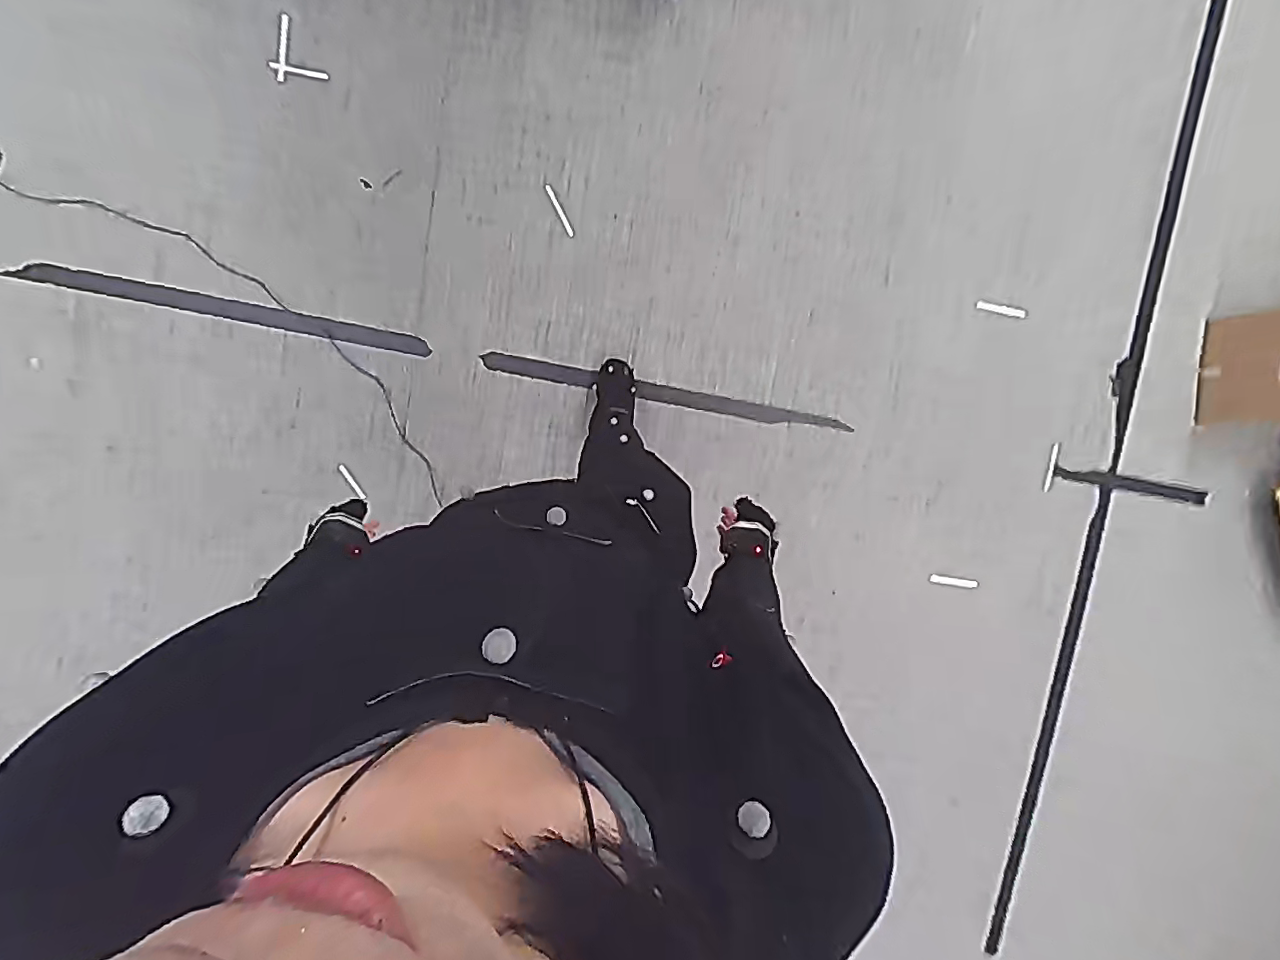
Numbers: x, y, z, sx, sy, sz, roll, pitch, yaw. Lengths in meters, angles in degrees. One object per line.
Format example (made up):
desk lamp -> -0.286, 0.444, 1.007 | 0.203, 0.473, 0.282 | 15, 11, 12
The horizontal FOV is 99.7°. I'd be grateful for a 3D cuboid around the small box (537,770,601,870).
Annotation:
small box -> -0.197, 0.937, 1.508 | 0.168, 0.176, 0.179 | -2, 97, -5
